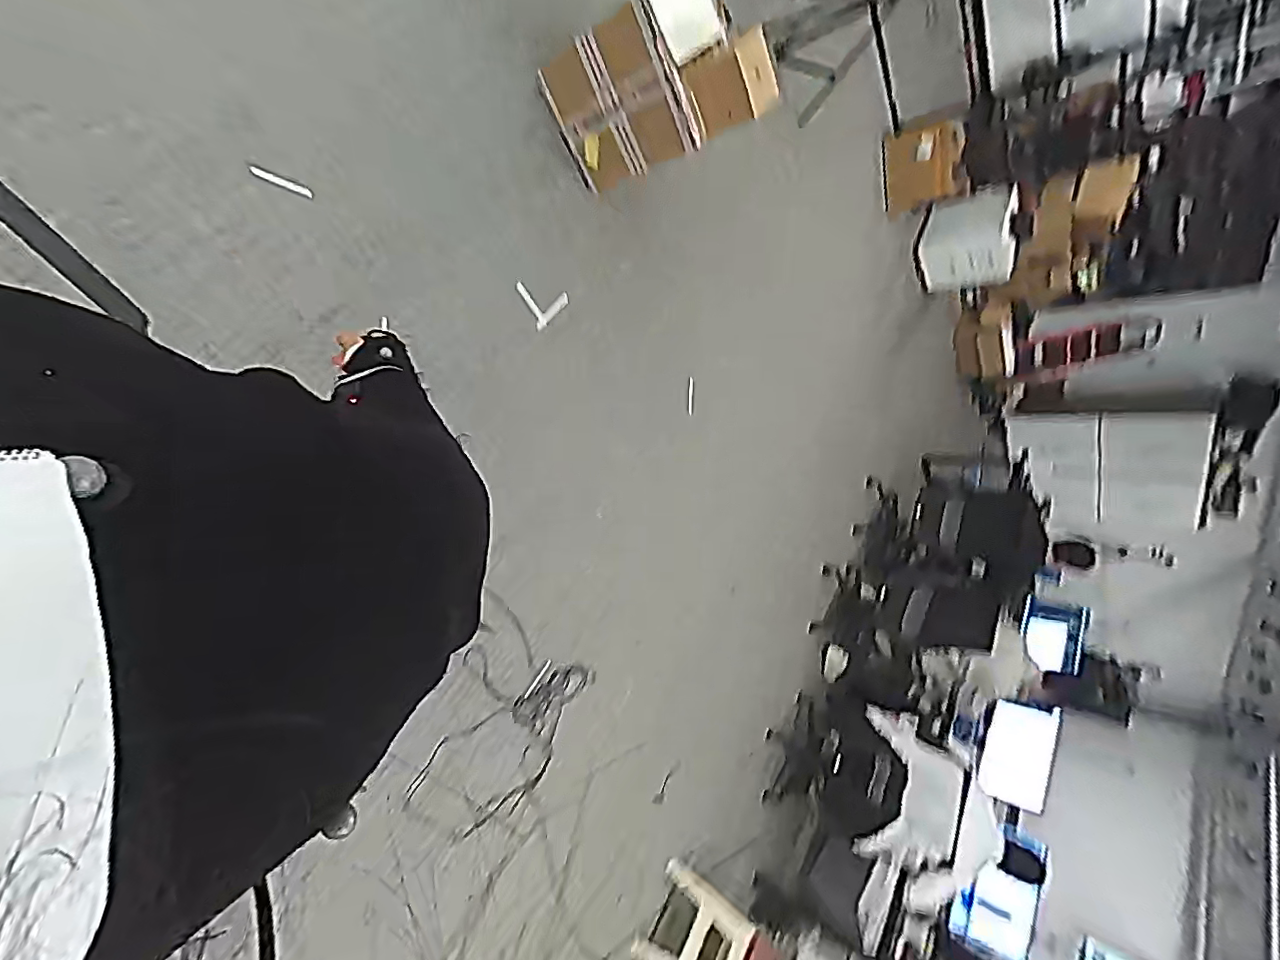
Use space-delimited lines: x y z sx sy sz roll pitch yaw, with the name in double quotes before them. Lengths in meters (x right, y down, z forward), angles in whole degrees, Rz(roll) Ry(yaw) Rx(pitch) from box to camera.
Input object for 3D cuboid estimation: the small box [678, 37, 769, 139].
"small box" 0.243 -1.122 1.565 0.168 0.176 0.179 -55 130 -26
